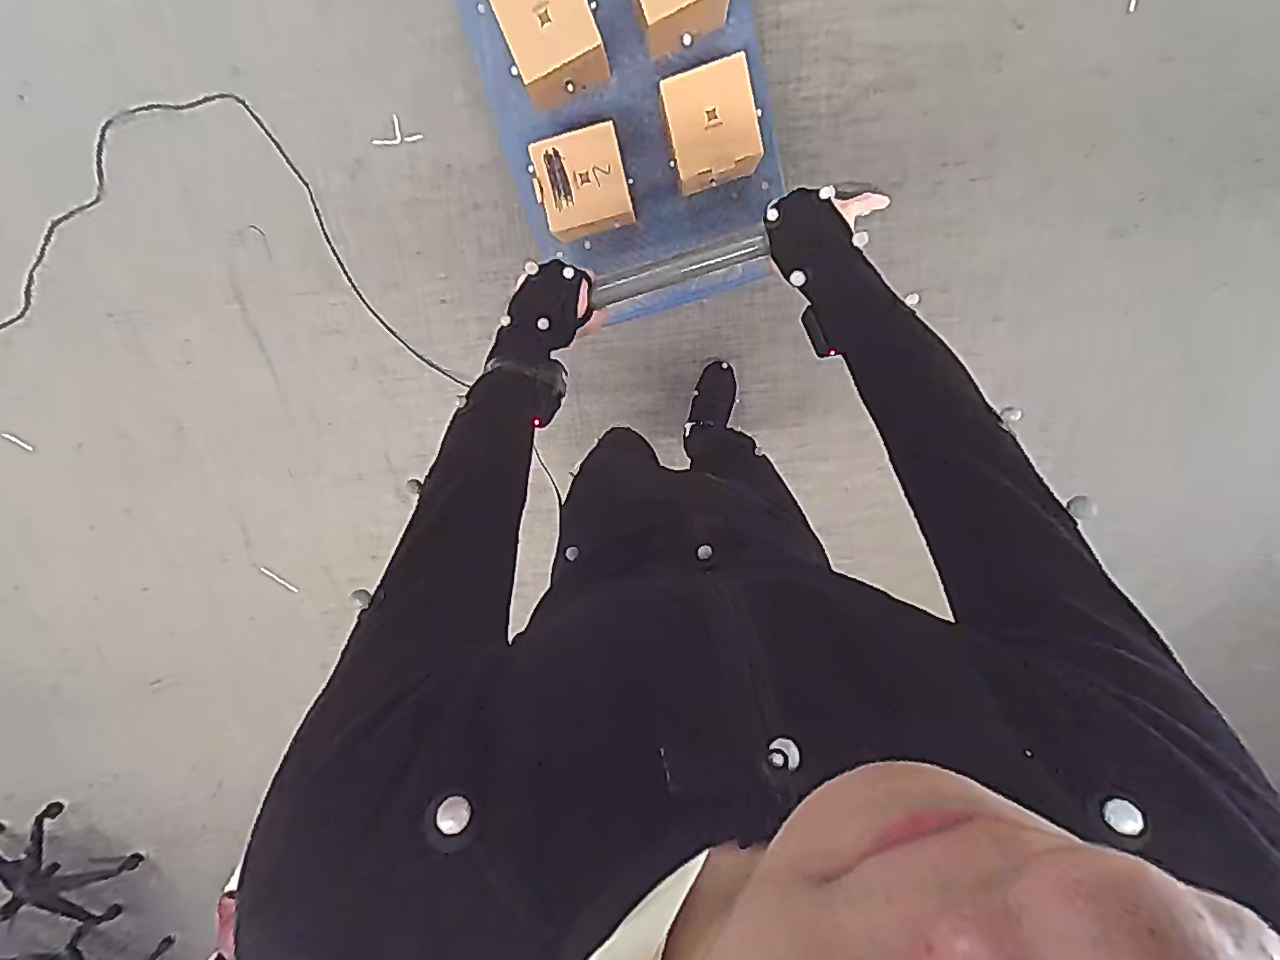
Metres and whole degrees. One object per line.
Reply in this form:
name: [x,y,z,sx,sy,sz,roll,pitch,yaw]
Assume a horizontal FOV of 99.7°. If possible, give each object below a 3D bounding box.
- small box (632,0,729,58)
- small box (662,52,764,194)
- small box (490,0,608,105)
small box: [0.064,-0.962,1.029,0.168,0.176,0.179,-20,107,9]
small box: [0.143,-0.716,1.107,0.168,0.176,0.179,-15,107,8]
small box: [-0.173,-0.880,1.067,0.168,0.176,0.179,-22,106,9]
